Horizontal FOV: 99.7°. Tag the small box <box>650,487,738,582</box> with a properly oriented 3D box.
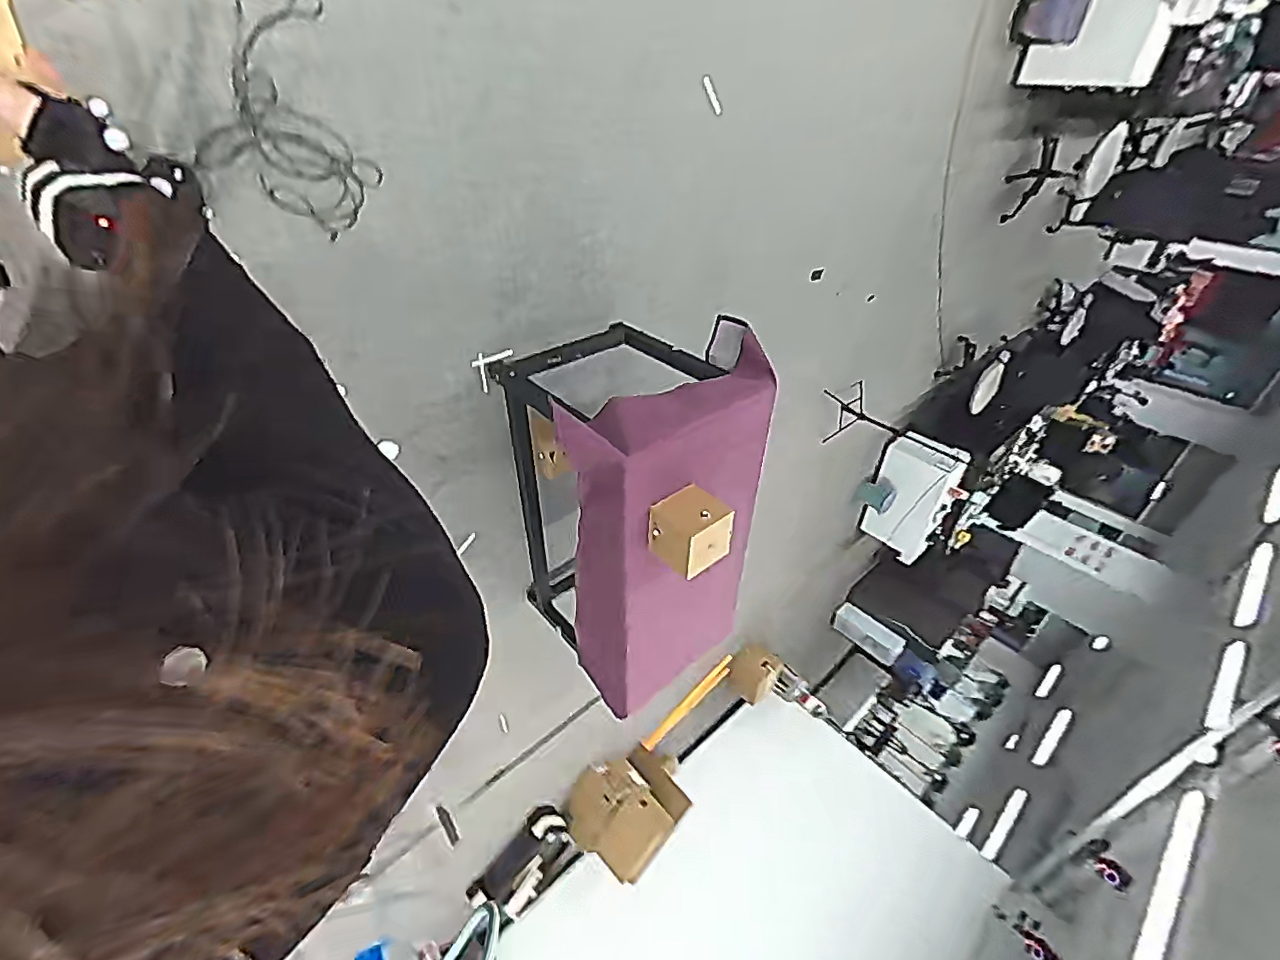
[{"bbox_3d":[0.149,0.147,1.531,0.179,0.176,0.168,-26,135,-32],"label":"small box"}]

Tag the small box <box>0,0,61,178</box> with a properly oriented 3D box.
[{"bbox_3d":[-0.643,-0.374,0.454,0.179,0.176,0.168,-20,138,-42],"label":"small box"}]
